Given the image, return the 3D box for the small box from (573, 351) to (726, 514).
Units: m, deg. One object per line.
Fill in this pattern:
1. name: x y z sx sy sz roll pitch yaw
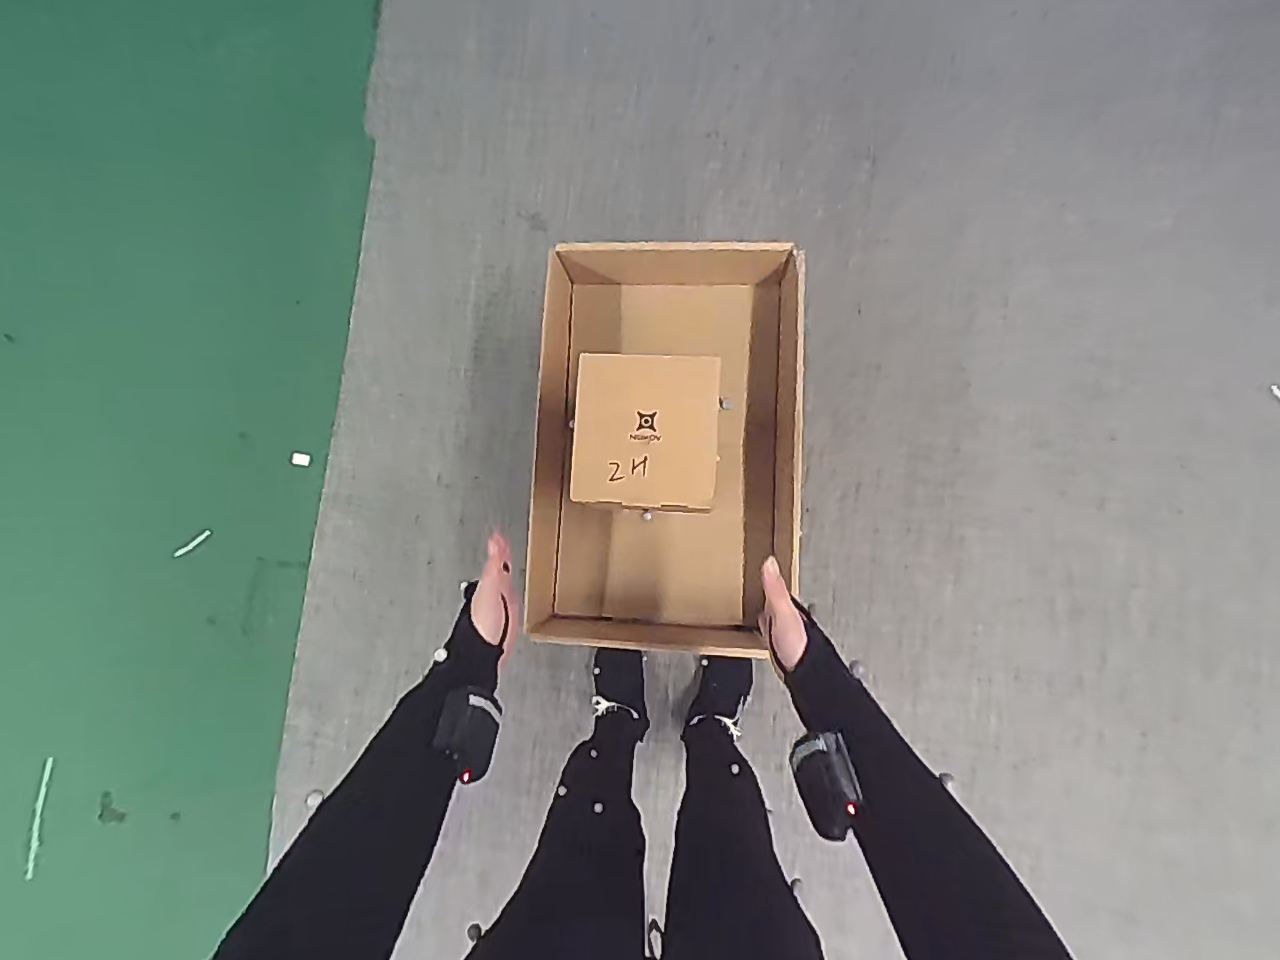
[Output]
1. small box: 0.017 -0.051 0.687 0.168 0.176 0.179 3 85 6
